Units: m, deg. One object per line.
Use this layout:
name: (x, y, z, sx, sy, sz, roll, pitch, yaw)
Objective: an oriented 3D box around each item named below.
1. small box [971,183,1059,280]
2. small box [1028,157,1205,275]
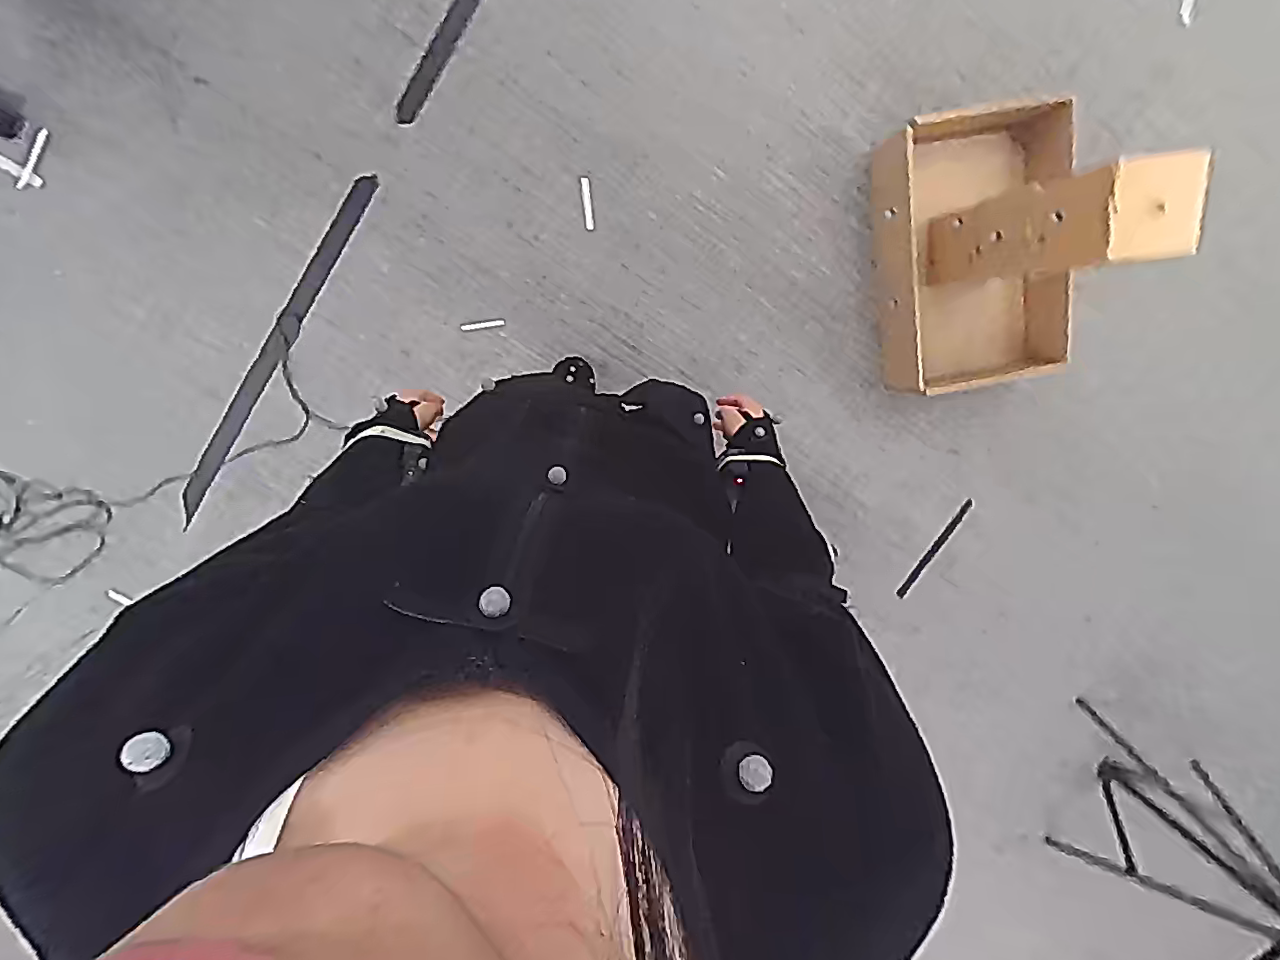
small box: (0.855, -0.533, 1.172, 0.179, 0.176, 0.168, -7, 105, -4)
small box: (0.881, -0.488, 1.017, 0.179, 0.176, 0.168, -8, 105, -5)
